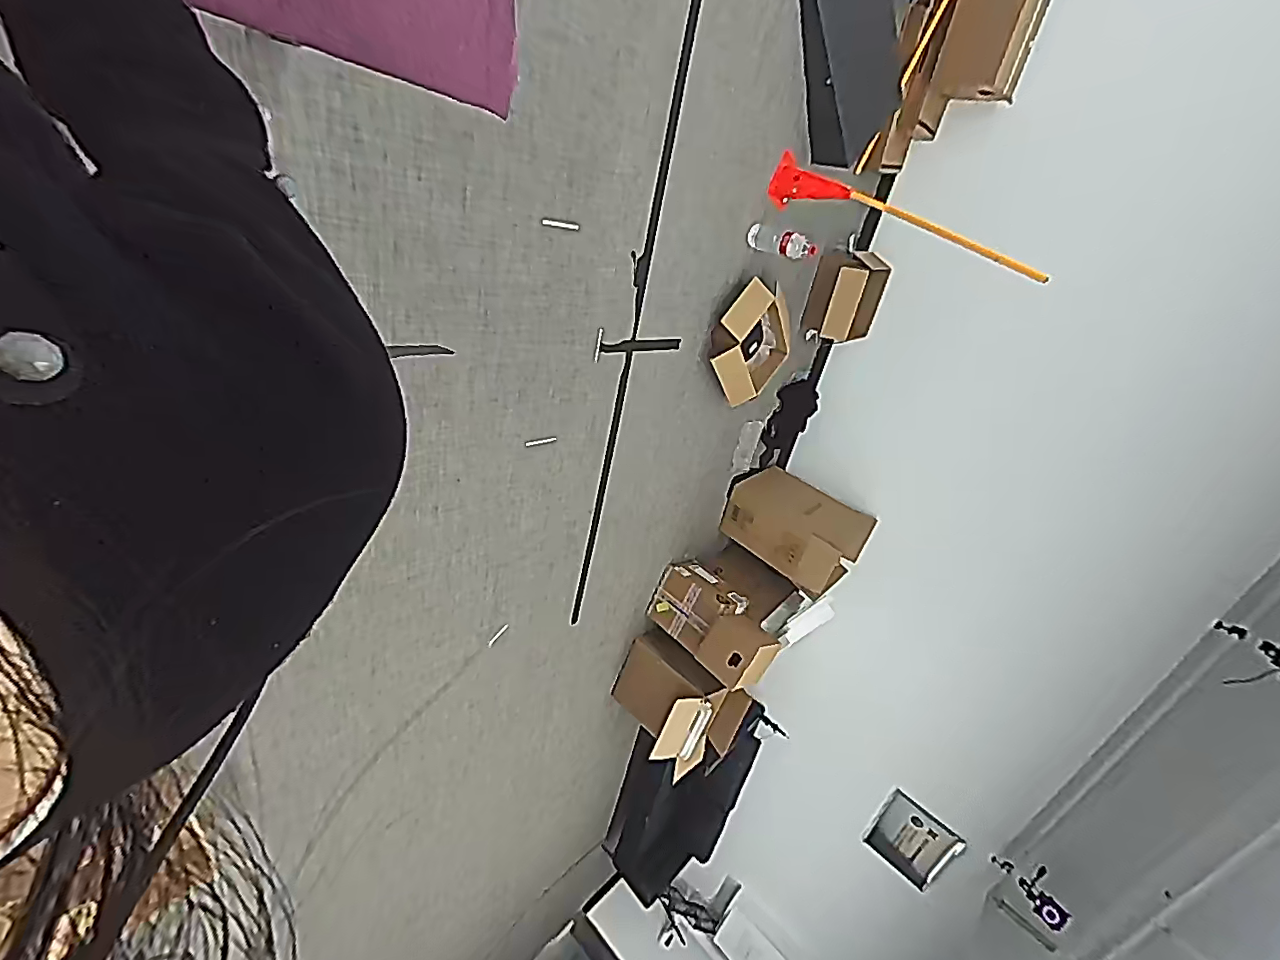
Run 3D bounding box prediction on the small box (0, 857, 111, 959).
[{"bbox_3d":[-1.580,1.173,1.458,0.168,0.176,0.179,-25,136,-43],"label":"small box"}]
